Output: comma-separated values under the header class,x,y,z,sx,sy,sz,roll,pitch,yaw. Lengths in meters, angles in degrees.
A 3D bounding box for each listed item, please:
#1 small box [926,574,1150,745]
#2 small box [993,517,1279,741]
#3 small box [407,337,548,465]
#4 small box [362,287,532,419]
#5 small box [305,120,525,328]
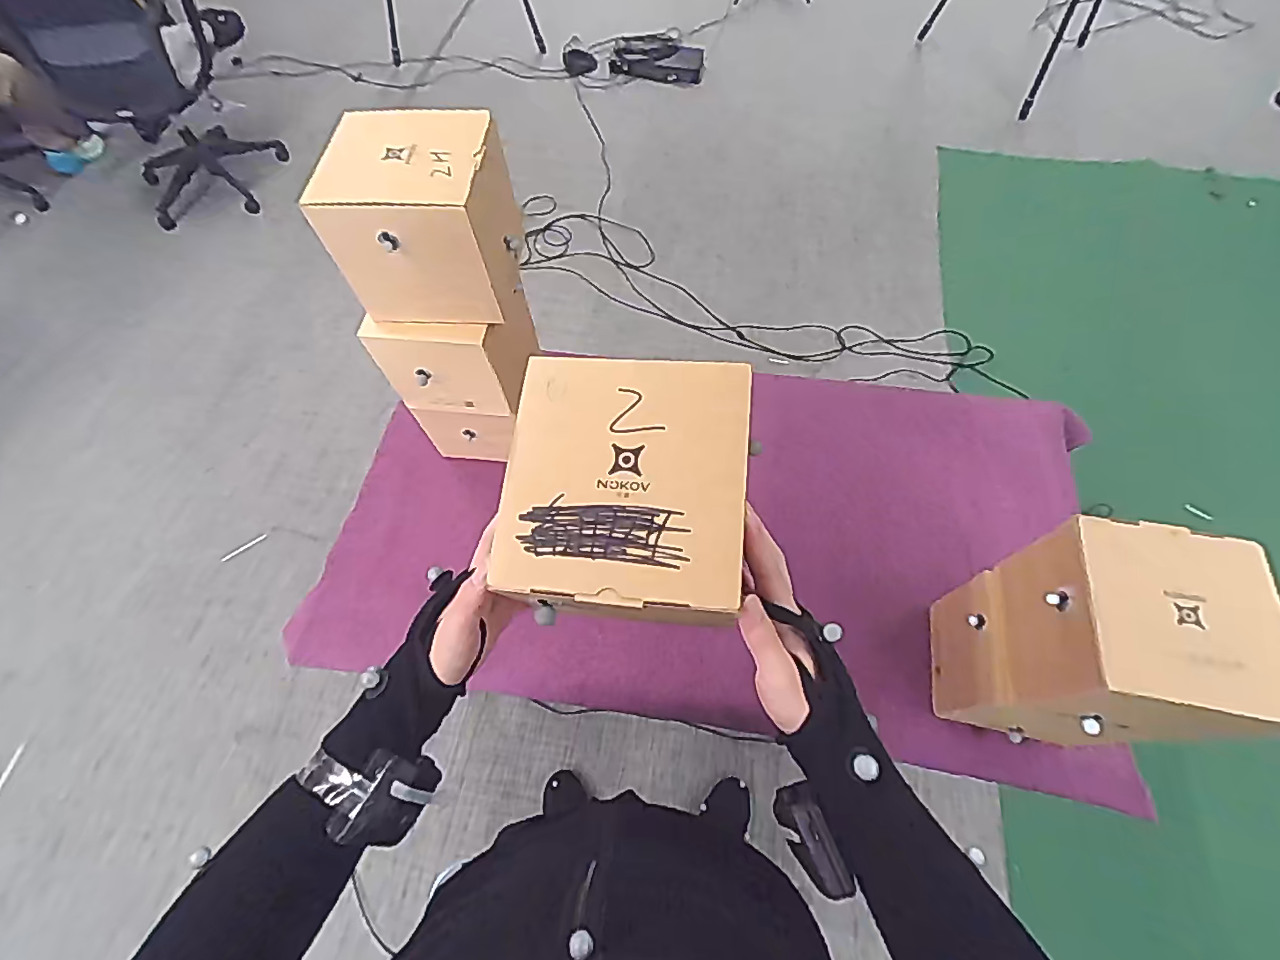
class,x,y,z,sx,sy,sz,roll,pitch,yaw
small box,0.508,0.245,0.720,0.179,0.176,0.168,11,62,7
small box,0.507,0.164,0.577,0.168,0.176,0.179,10,63,9
small box,-0.266,-0.137,0.938,0.179,0.176,0.168,4,63,4
small box,-0.265,-0.207,0.792,0.168,0.176,0.179,5,62,4
small box,-0.253,-0.304,0.658,0.179,0.176,0.168,2,63,2
